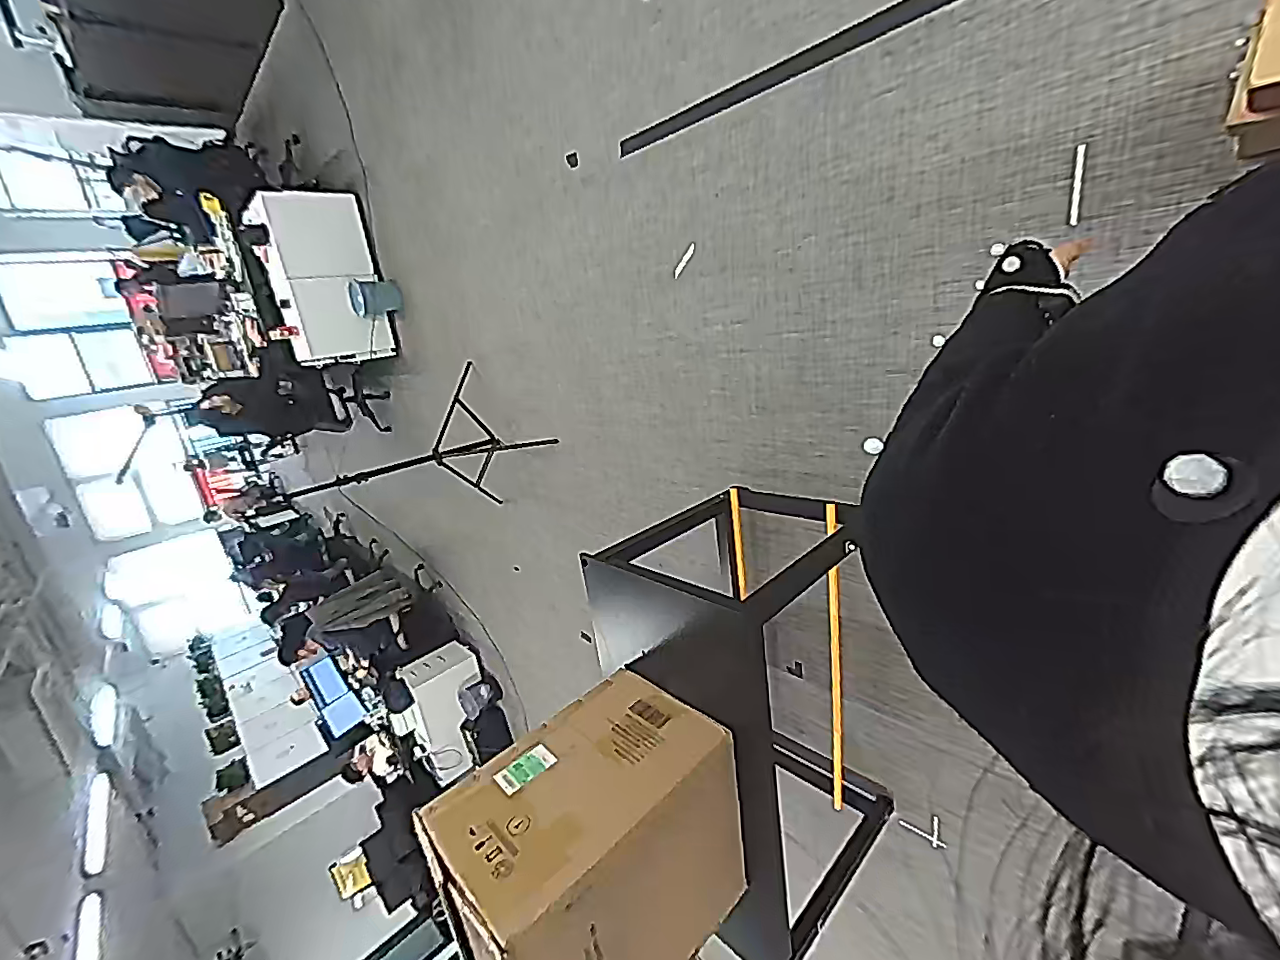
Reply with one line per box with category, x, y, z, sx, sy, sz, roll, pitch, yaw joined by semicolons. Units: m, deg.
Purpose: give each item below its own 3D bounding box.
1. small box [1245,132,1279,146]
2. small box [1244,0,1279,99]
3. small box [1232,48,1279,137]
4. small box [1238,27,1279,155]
small box;0.920;-0.559;0.701;0.168;0.176;0.179;11;116;46
small box;0.691;-0.468;0.486;0.168;0.176;0.179;15;118;45
small box;0.804;-0.504;0.601;0.168;0.176;0.179;18;122;44
small box;1.035;-0.608;0.808;0.179;0.176;0.168;6;112;47
